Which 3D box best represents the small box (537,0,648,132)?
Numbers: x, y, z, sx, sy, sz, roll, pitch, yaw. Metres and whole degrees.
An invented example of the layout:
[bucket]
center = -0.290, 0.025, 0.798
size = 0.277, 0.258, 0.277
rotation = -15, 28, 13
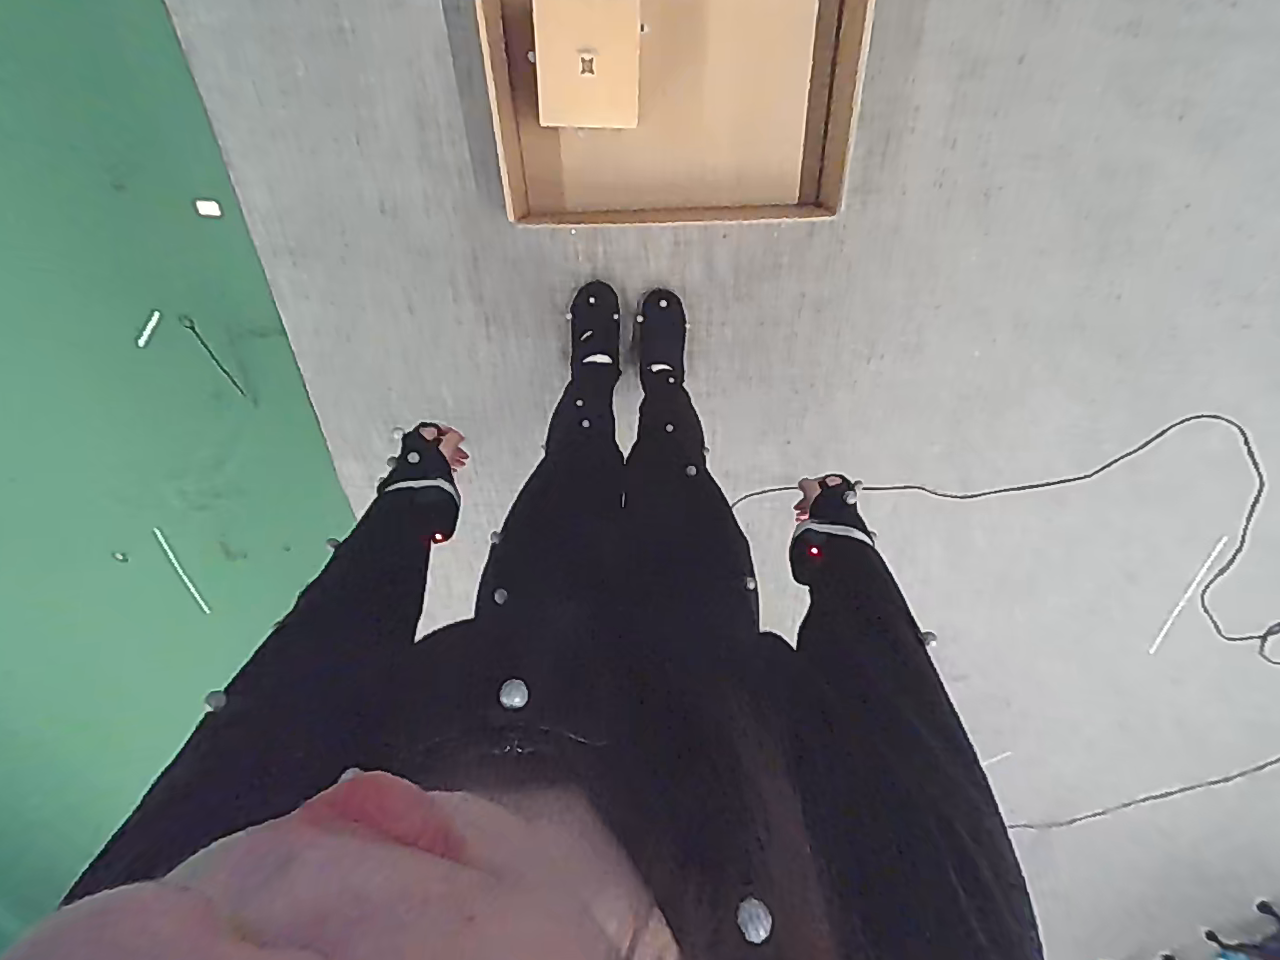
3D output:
[small box]
center = -0.074, -0.701, 0.920
size = 0.168, 0.176, 0.179
rotation = 2, 122, 0
